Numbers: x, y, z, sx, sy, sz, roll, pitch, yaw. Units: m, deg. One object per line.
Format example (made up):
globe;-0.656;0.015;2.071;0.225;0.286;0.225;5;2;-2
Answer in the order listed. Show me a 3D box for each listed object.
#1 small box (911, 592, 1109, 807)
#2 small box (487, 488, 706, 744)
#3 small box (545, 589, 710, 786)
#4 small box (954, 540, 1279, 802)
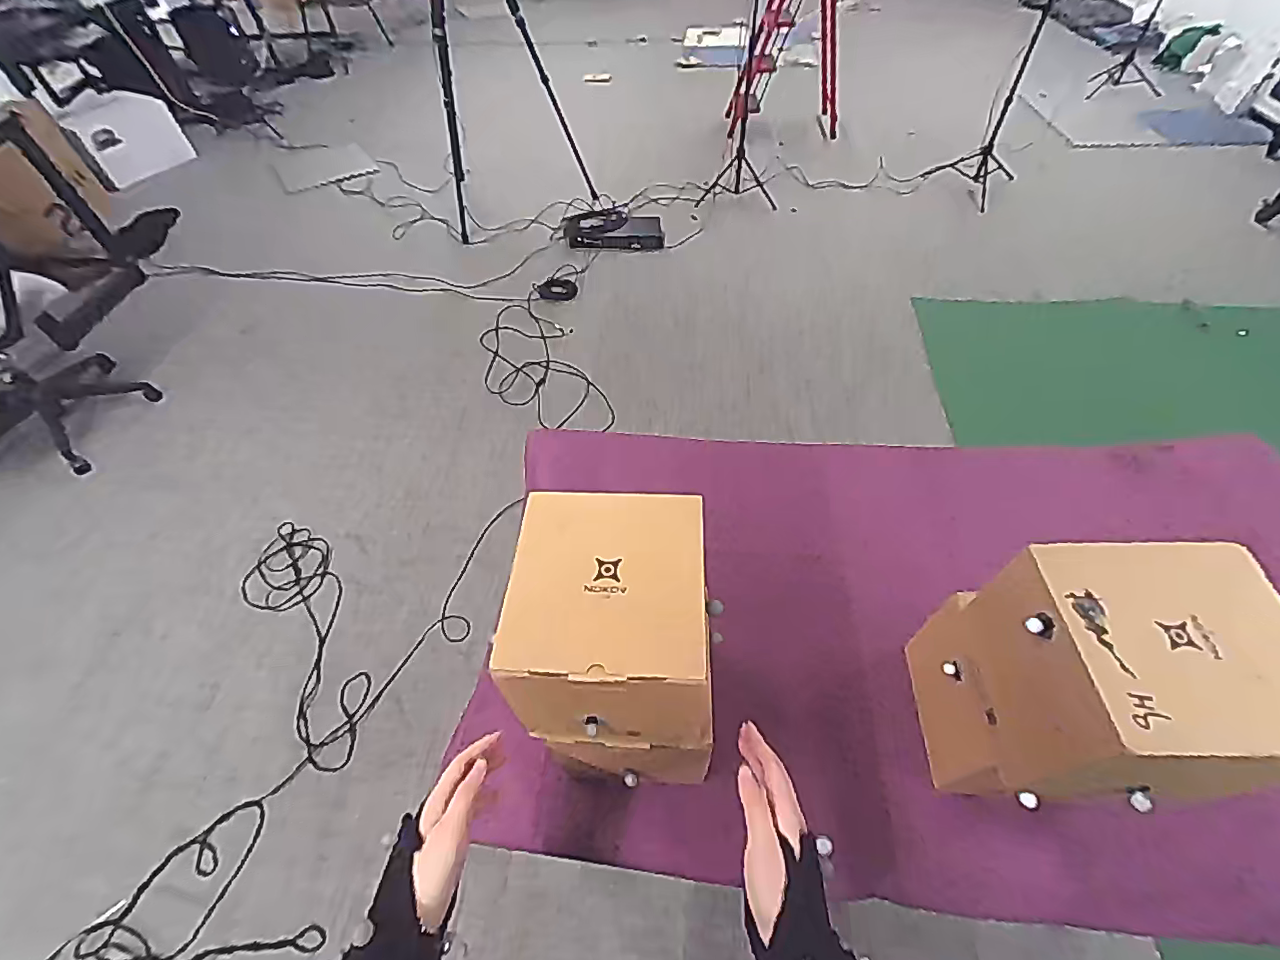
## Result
small box;0.427;0.247;0.605;0.168;0.176;0.179;3;52;5
small box;-0.027;0.128;0.509;0.168;0.176;0.179;1;50;3
small box;-0.008;0.236;0.629;0.168;0.176;0.179;1;50;4
small box;0.412;0.166;0.460;0.179;0.176;0.168;0;51;3
